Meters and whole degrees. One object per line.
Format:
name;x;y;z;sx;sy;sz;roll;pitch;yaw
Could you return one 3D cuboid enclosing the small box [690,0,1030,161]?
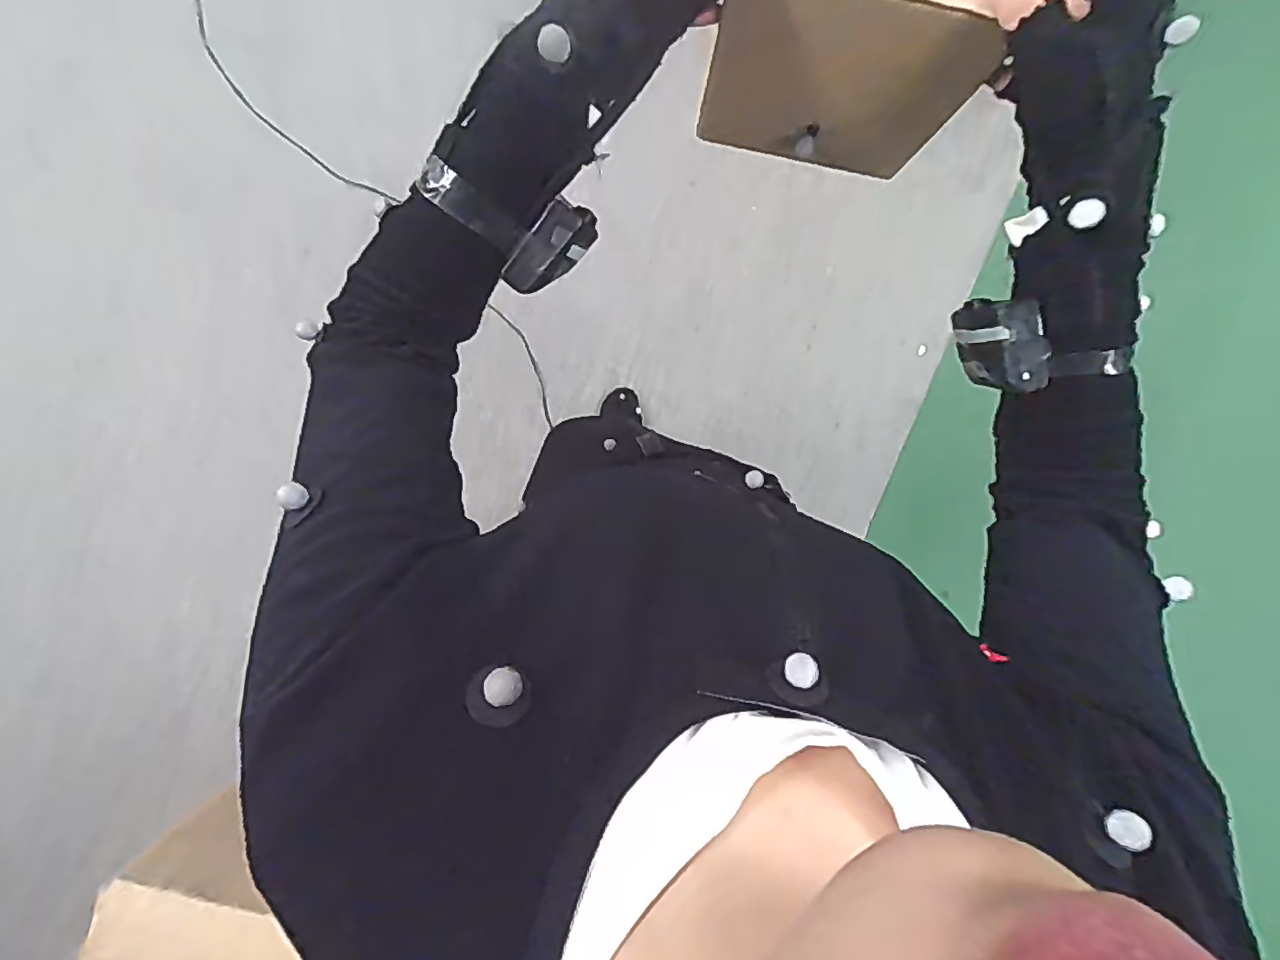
small box;0.145;-0.358;0.377;0.179;0.176;0.168;11;92;-4
